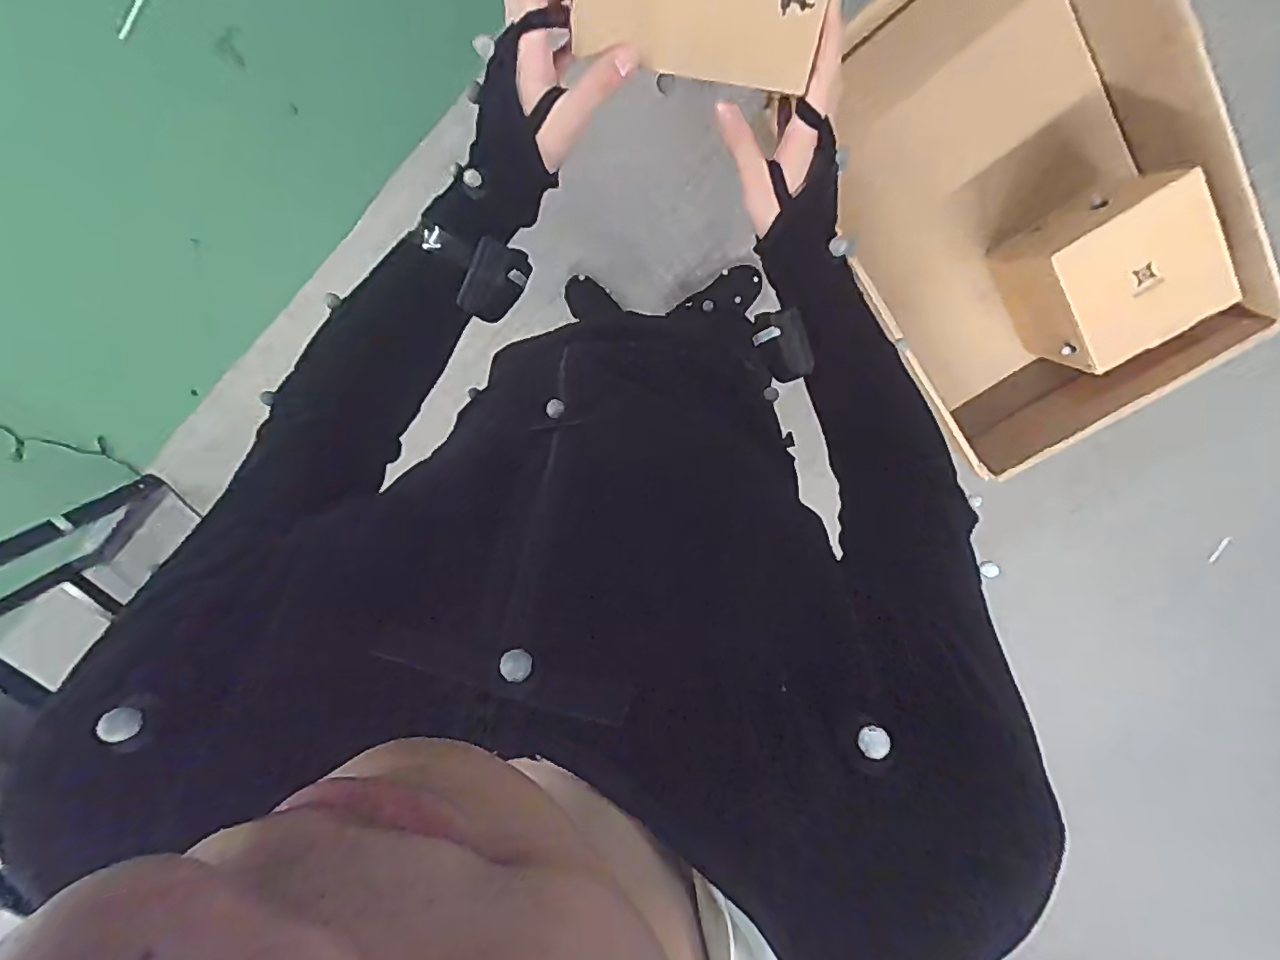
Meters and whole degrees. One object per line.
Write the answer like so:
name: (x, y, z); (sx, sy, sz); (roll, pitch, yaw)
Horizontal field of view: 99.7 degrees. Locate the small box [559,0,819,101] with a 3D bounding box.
small box: (0.043, -0.399, 0.408); (0.179, 0.176, 0.168); (8, 127, -1)
